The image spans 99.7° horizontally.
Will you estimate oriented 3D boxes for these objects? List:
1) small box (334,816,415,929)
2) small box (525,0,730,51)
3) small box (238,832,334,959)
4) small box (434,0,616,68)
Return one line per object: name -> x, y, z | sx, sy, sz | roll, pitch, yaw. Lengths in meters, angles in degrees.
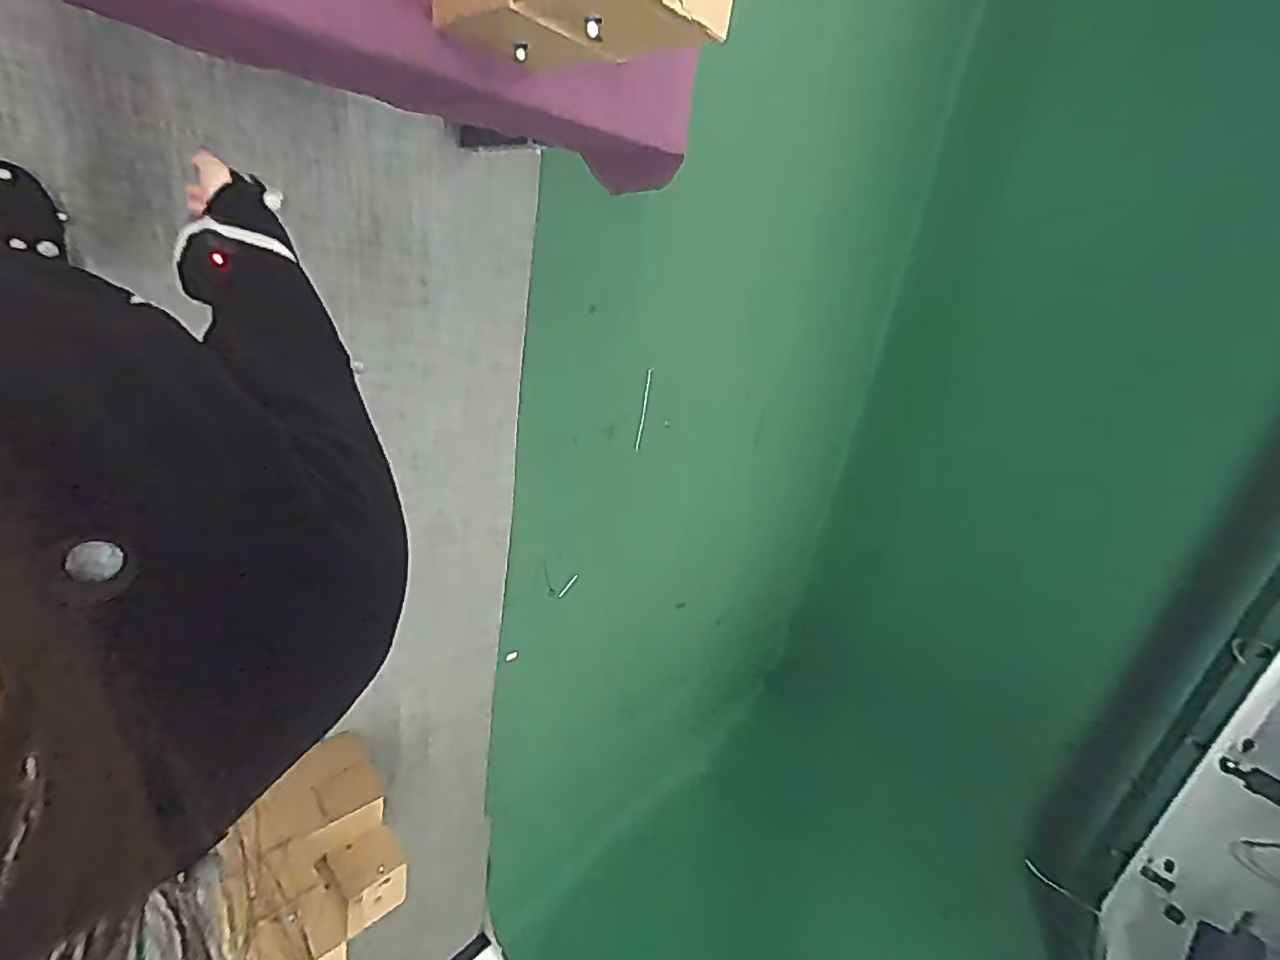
small box -> -0.792, 1.158, 1.609 | 0.168, 0.176, 0.179 | -12, 122, -48
small box -> -0.010, -0.576, 0.550 | 0.168, 0.176, 0.179 | -15, 123, -45
small box -> -0.918, 1.073, 1.400 | 0.179, 0.176, 0.168 | -13, 122, -46
small box -> -0.133, -0.625, 0.646 | 0.168, 0.176, 0.179 | -16, 122, -46
